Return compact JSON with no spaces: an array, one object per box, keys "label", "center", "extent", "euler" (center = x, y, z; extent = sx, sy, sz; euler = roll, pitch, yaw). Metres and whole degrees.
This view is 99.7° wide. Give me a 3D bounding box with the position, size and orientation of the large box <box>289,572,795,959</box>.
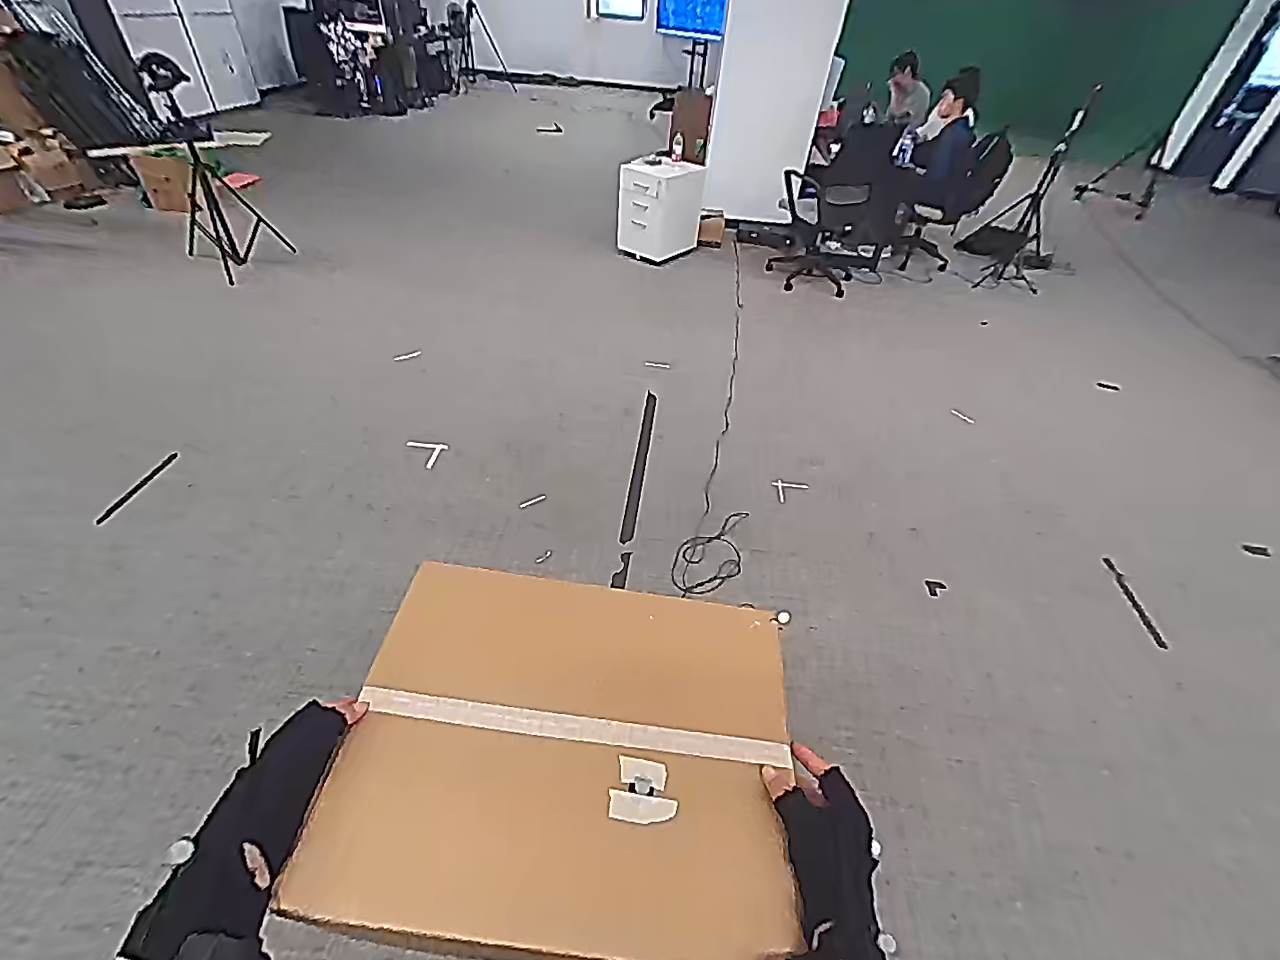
[{"label":"large box","center":[-0.080,0.342,0.625],"extent":[0.408,0.320,0.320],"euler":[9,47,-1]}]
